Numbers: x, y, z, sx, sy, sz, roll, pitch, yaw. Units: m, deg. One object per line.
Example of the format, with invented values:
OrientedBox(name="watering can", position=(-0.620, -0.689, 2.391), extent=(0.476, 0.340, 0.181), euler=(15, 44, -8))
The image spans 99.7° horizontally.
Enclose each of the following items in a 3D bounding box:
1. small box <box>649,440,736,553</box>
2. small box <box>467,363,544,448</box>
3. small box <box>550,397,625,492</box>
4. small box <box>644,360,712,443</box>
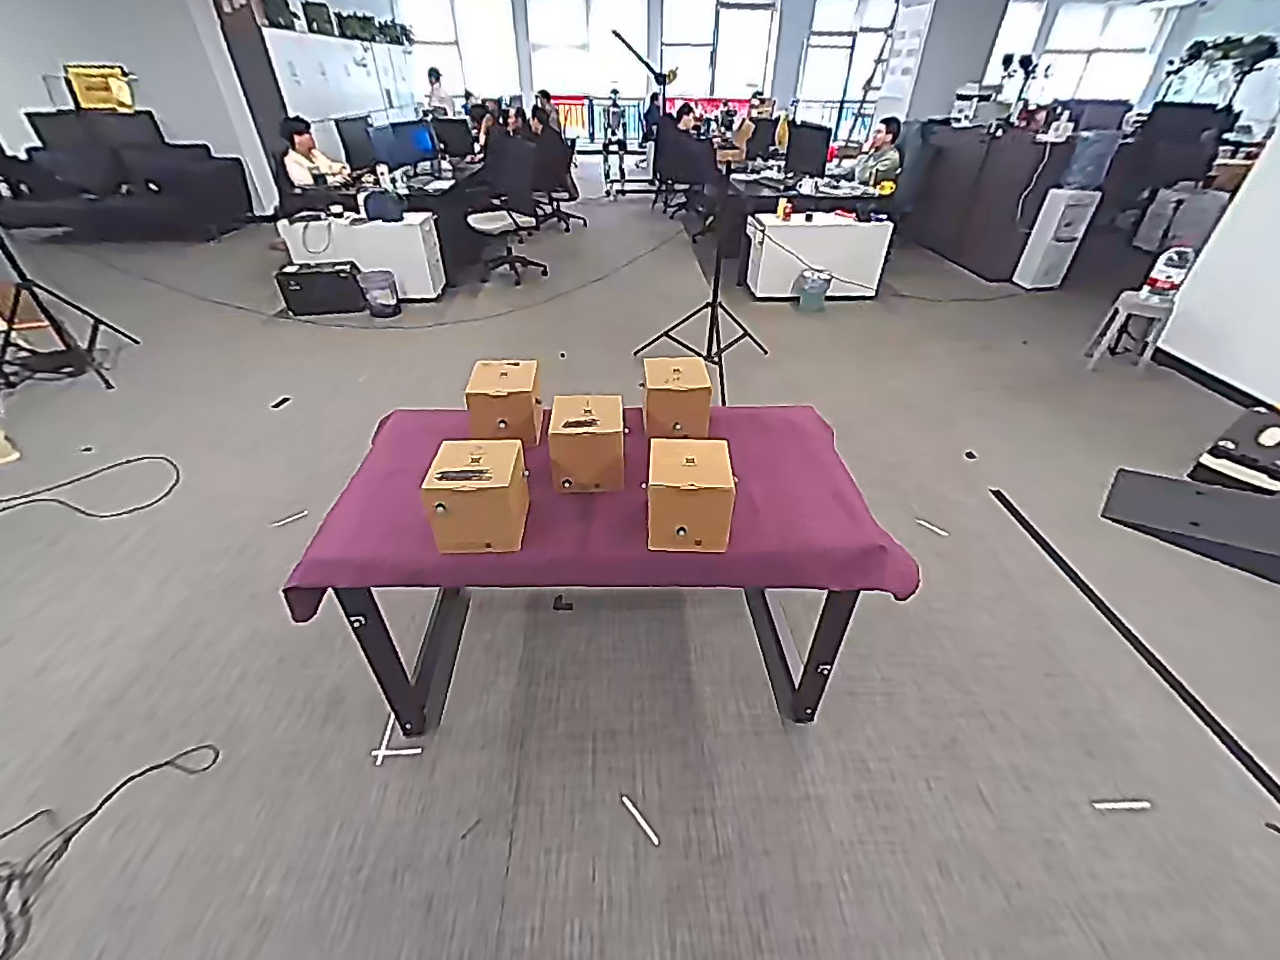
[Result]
OrientedBox(name="small box", position=(0.104, 0.033, 1.146), extent=(0.168, 0.176, 0.179), euler=(1, 36, 1))
OrientedBox(name="small box", position=(-0.350, -0.195, 1.442), extent=(0.168, 0.176, 0.179), euler=(-1, 39, -3))
OrientedBox(name="small box", position=(-0.119, -0.083, 1.299), extent=(0.168, 0.176, 0.179), euler=(-1, 36, -2))
OrientedBox(name="small box", position=(0.097, -0.214, 1.472), extent=(0.168, 0.176, 0.179), euler=(-2, 38, -2))
